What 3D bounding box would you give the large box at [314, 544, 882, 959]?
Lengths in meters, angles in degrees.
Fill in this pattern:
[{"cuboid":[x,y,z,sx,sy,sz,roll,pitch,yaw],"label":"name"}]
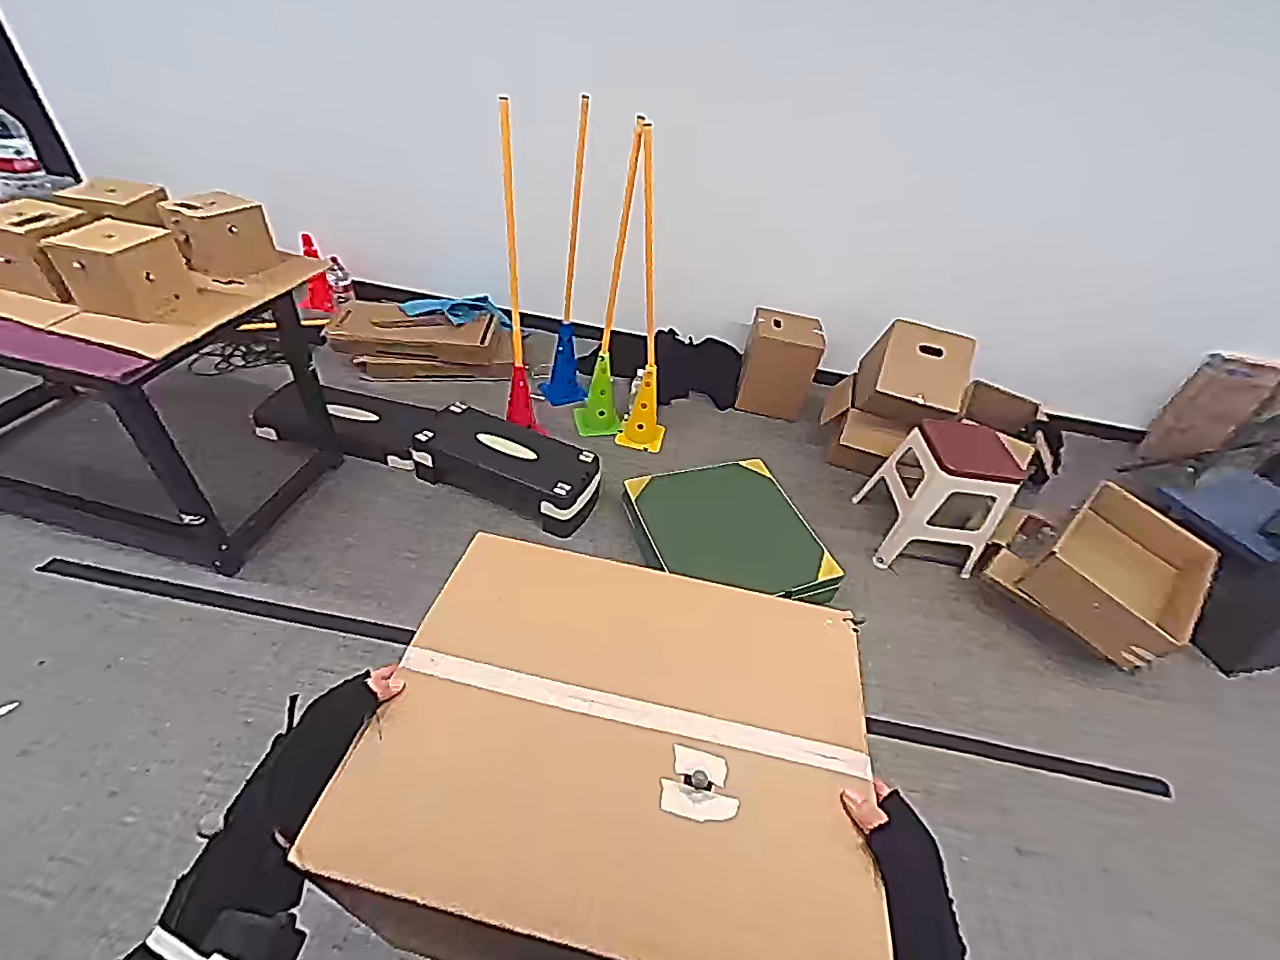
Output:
[{"cuboid":[-0.024,0.314,0.568,0.408,0.320,0.320,12,42,5],"label":"large box"}]
